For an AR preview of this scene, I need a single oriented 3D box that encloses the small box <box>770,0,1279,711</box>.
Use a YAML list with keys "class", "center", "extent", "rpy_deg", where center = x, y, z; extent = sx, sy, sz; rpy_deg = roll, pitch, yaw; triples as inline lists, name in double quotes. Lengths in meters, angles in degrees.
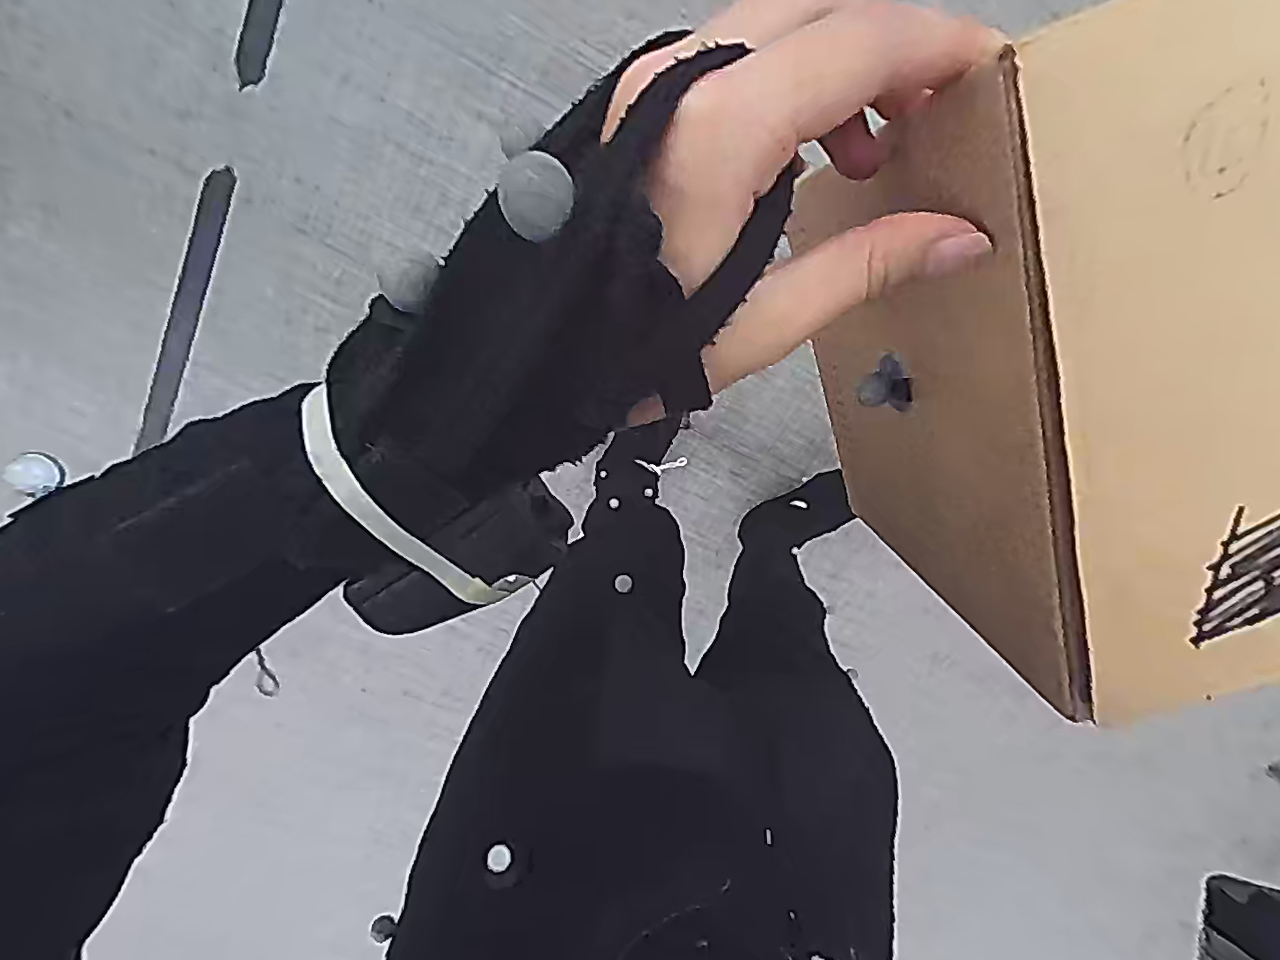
- class: "small box"
  center: [0.162, -0.063, 0.191]
  extent: [0.168, 0.176, 0.179]
  rpy_deg: [-20, 107, 5]
